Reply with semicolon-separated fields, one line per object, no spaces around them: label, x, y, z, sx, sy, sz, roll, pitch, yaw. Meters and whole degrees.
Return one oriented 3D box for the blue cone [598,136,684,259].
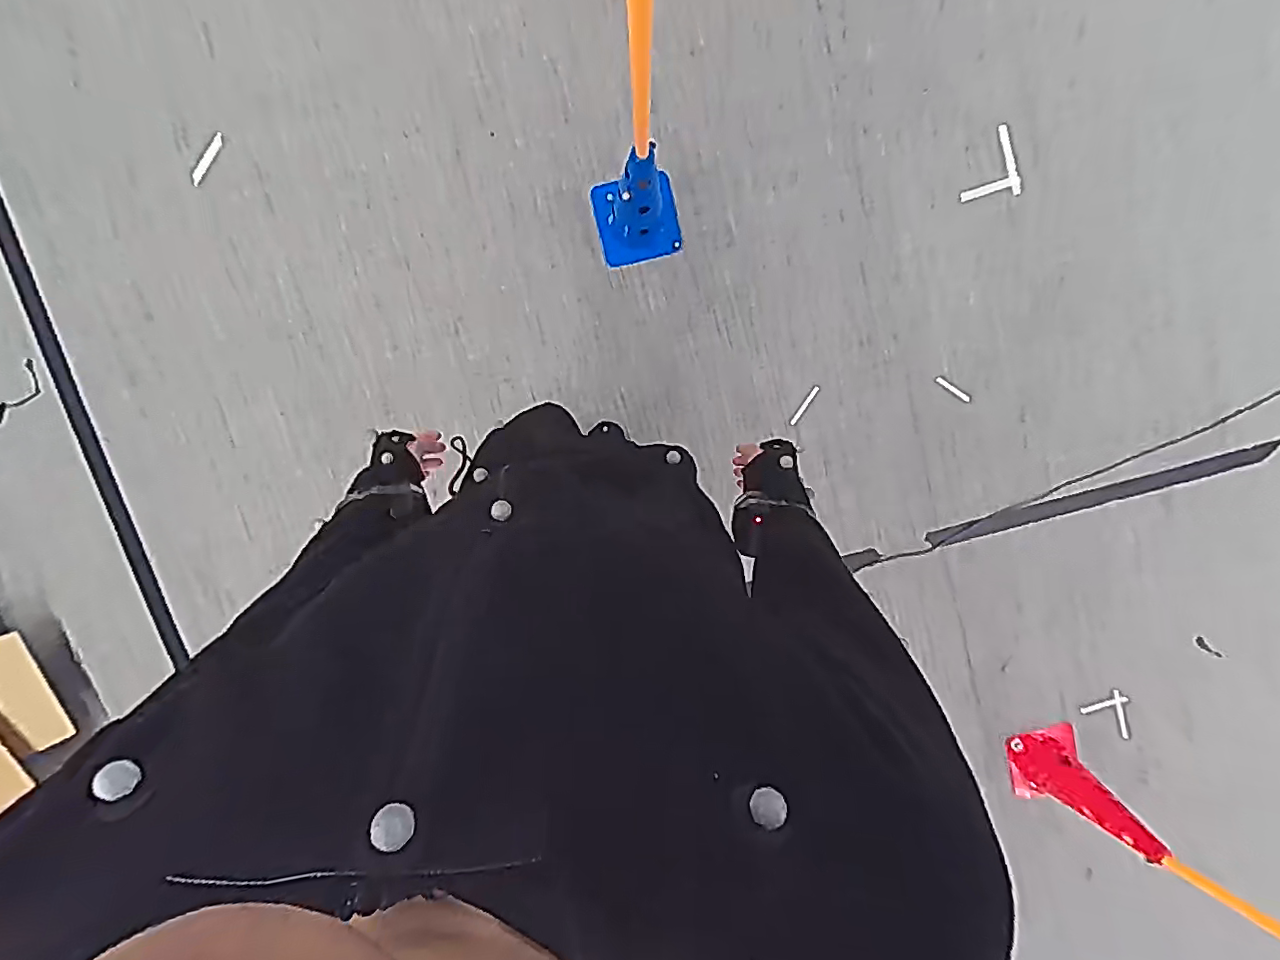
blue cone;0.008;-0.636;1.178;0.192;0.380;0.193;-12;97;-1
